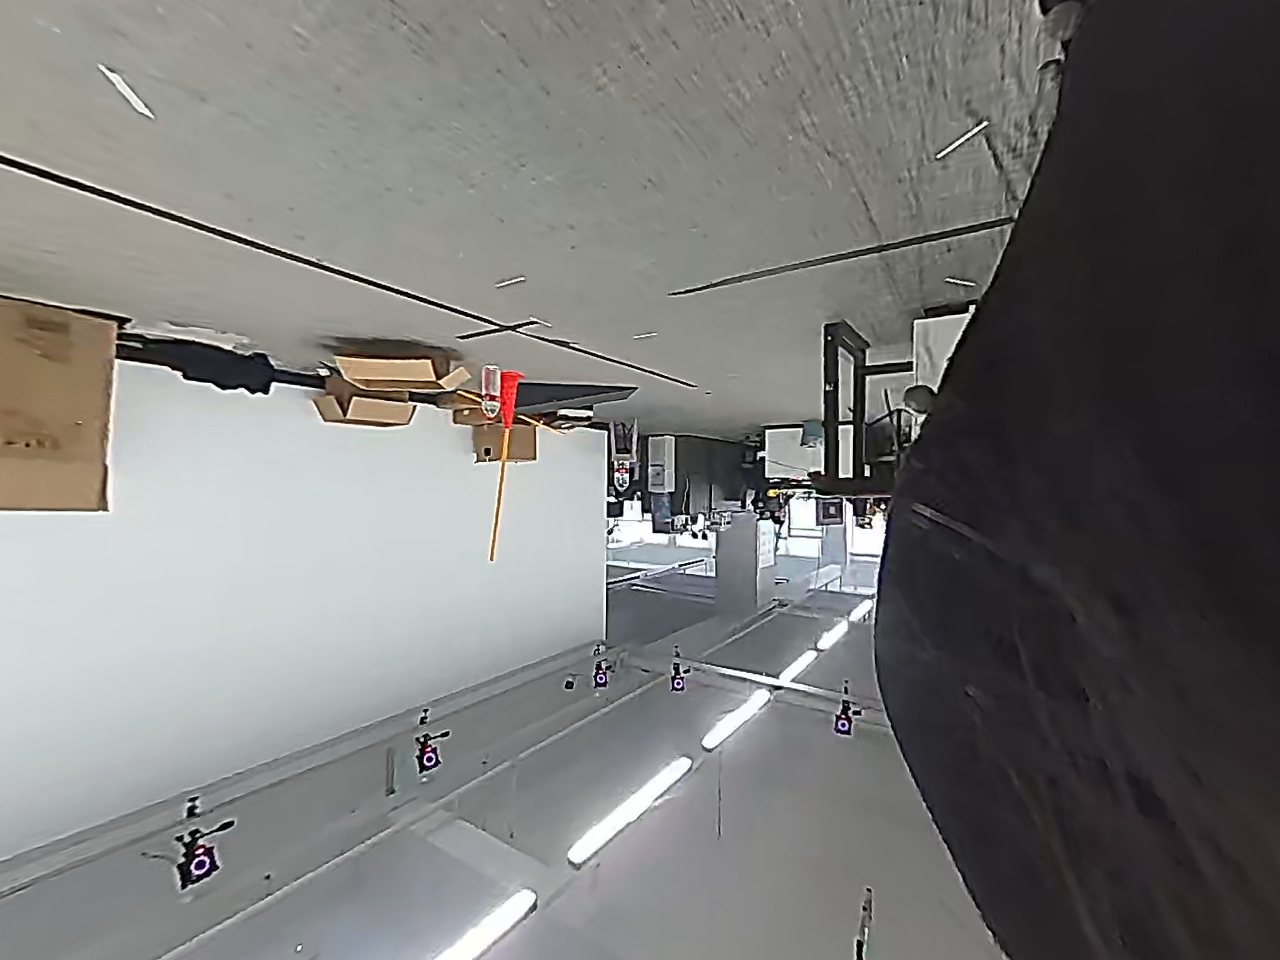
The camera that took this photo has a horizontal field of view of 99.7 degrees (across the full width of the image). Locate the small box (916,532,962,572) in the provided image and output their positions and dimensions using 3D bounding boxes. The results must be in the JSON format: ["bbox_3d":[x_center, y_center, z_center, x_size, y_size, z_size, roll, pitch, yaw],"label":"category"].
[{"bbox_3d":[1.352,0.318,2.445,0.179,0.176,0.168,0,178,29],"label":"small box"}]

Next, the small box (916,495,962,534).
[{"bbox_3d":[1.353,0.154,2.447,0.179,0.176,0.168,0,179,30],"label":"small box"}]
